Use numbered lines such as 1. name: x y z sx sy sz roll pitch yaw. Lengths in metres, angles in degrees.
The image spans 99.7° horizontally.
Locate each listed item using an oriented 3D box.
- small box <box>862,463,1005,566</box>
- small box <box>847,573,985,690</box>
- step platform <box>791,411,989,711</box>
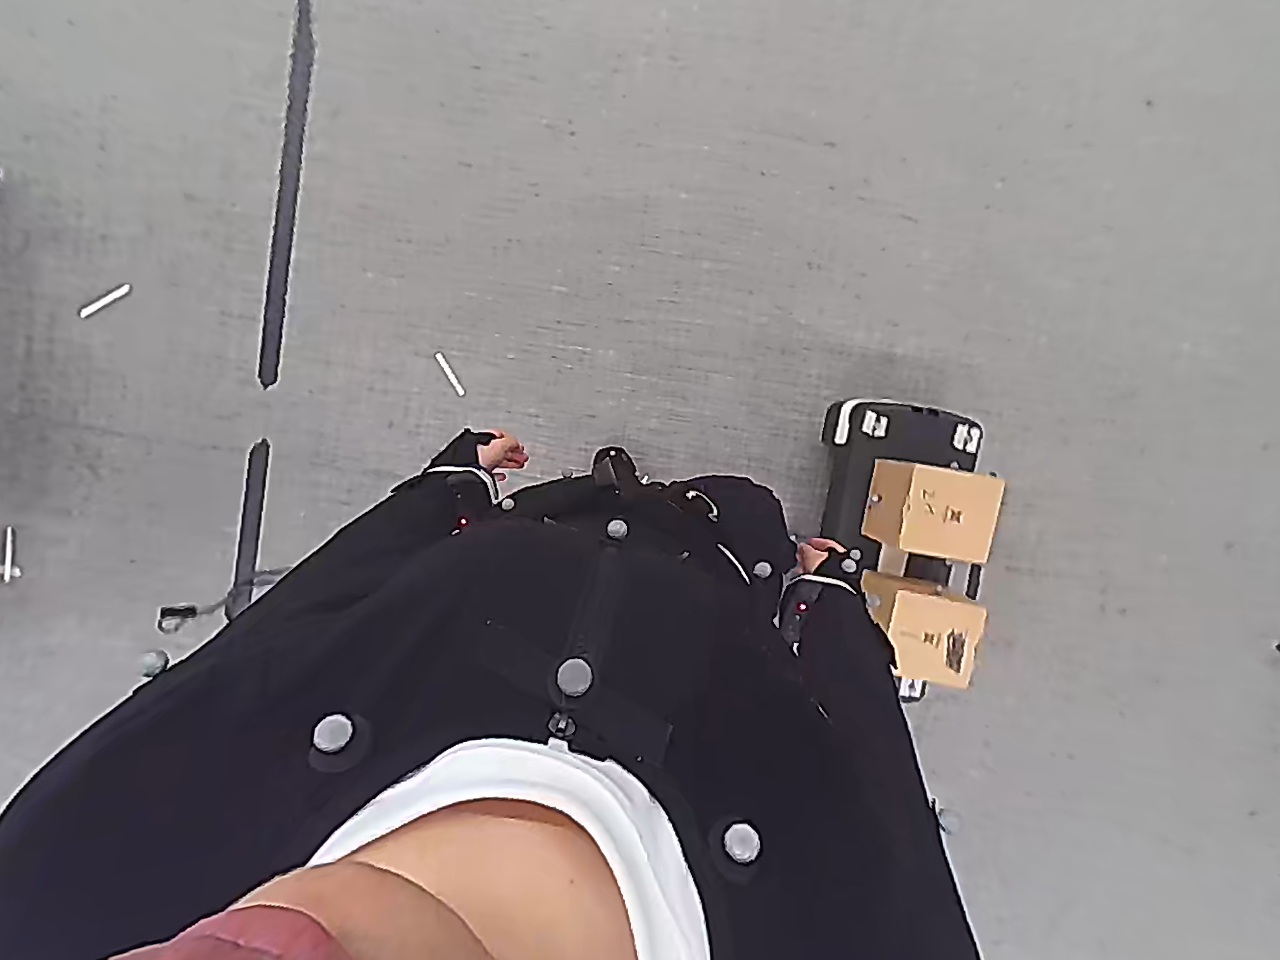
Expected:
1. small box: 0.579 0.061 1.089 0.179 0.176 0.168 11 94 -1
2. small box: 0.555 0.301 1.110 0.179 0.176 0.168 12 94 0
3. step platform: 0.575 0.183 1.274 0.286 0.204 0.684 9 94 -1
